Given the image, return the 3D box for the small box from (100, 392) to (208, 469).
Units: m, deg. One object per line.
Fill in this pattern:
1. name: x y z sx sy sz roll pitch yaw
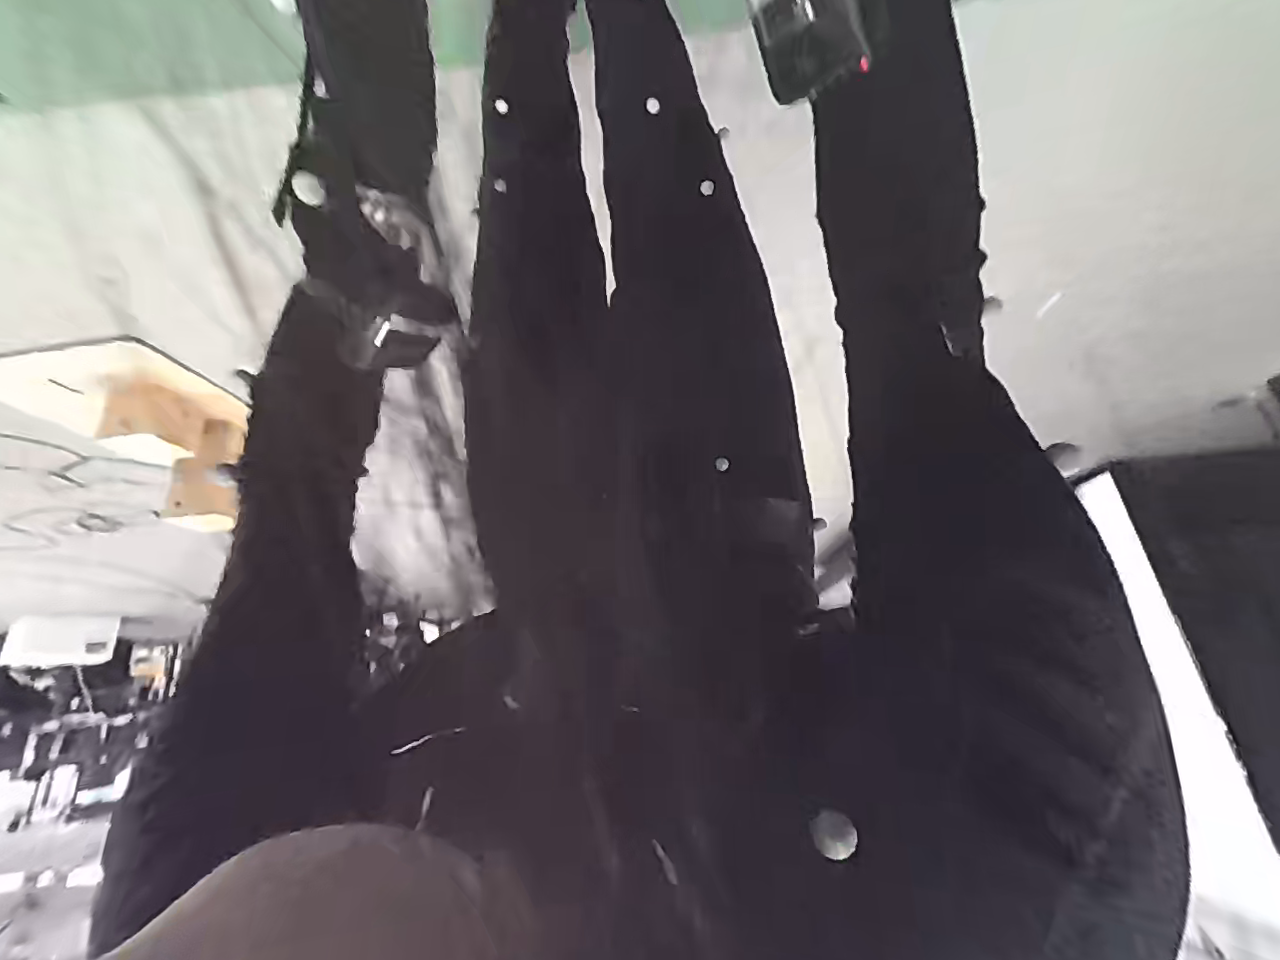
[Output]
1. small box: -1.499 -0.152 1.681 0.179 0.176 0.168 -9 158 5

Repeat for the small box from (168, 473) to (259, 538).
1. small box: -1.448 0.088 1.850 0.179 0.176 0.168 -7 160 1
